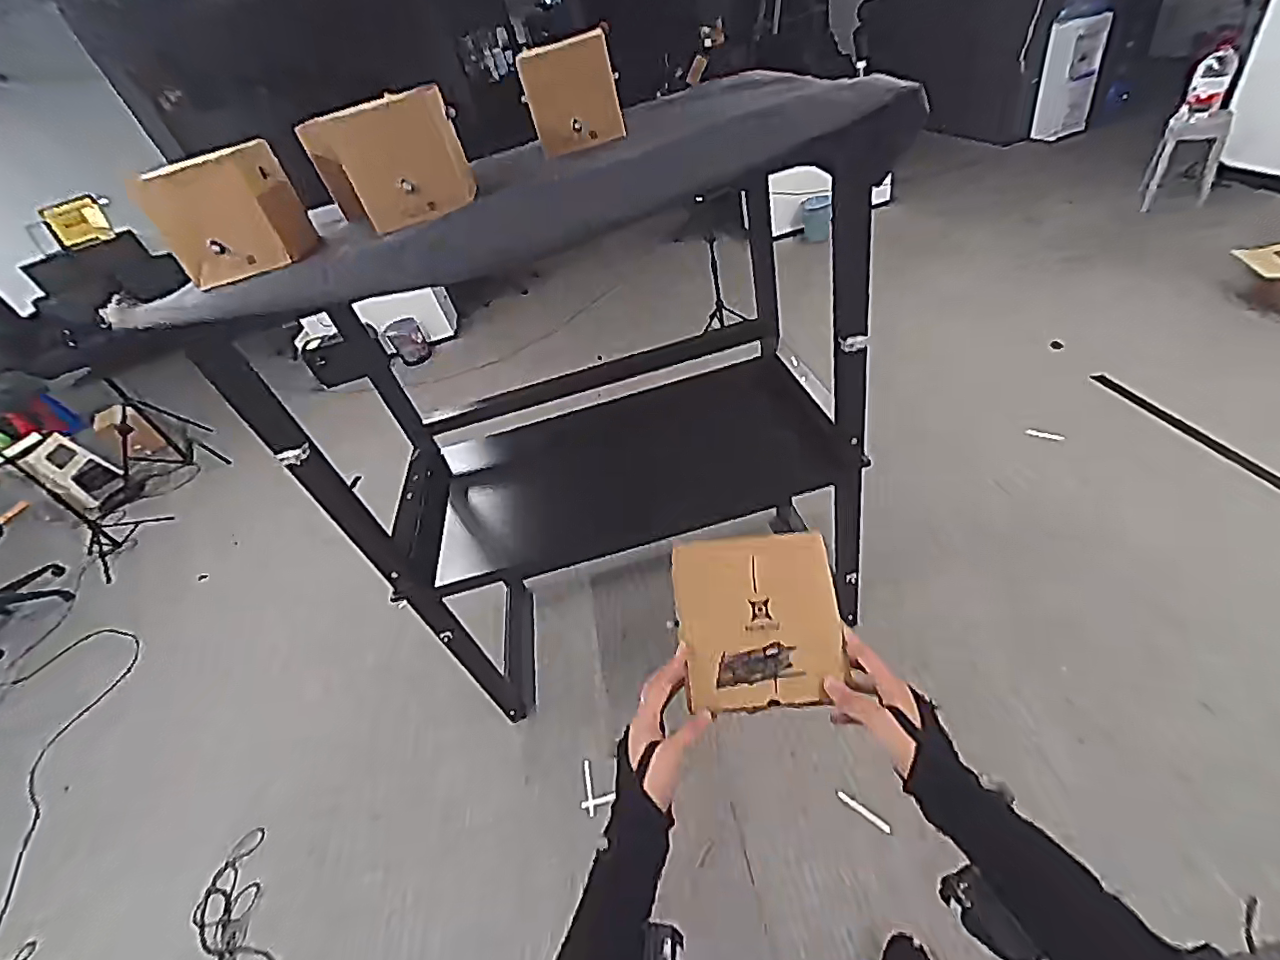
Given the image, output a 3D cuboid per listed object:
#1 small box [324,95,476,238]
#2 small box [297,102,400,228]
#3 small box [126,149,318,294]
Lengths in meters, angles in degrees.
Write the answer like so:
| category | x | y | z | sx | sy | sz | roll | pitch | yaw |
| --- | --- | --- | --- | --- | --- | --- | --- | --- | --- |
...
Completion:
| category | x | y | z | sx | sy | sz | roll | pitch | yaw |
| --- | --- | --- | --- | --- | --- | --- | --- | --- | --- |
| small box | -0.391 | -0.532 | 0.921 | 0.168 | 0.176 | 0.179 | -17 | 39 | 0 |
| small box | -0.536 | -0.633 | 1.088 | 0.179 | 0.176 | 0.168 | -18 | 40 | -2 |
| small box | -0.682 | -0.436 | 0.914 | 0.168 | 0.176 | 0.179 | -18 | 39 | -1 |
